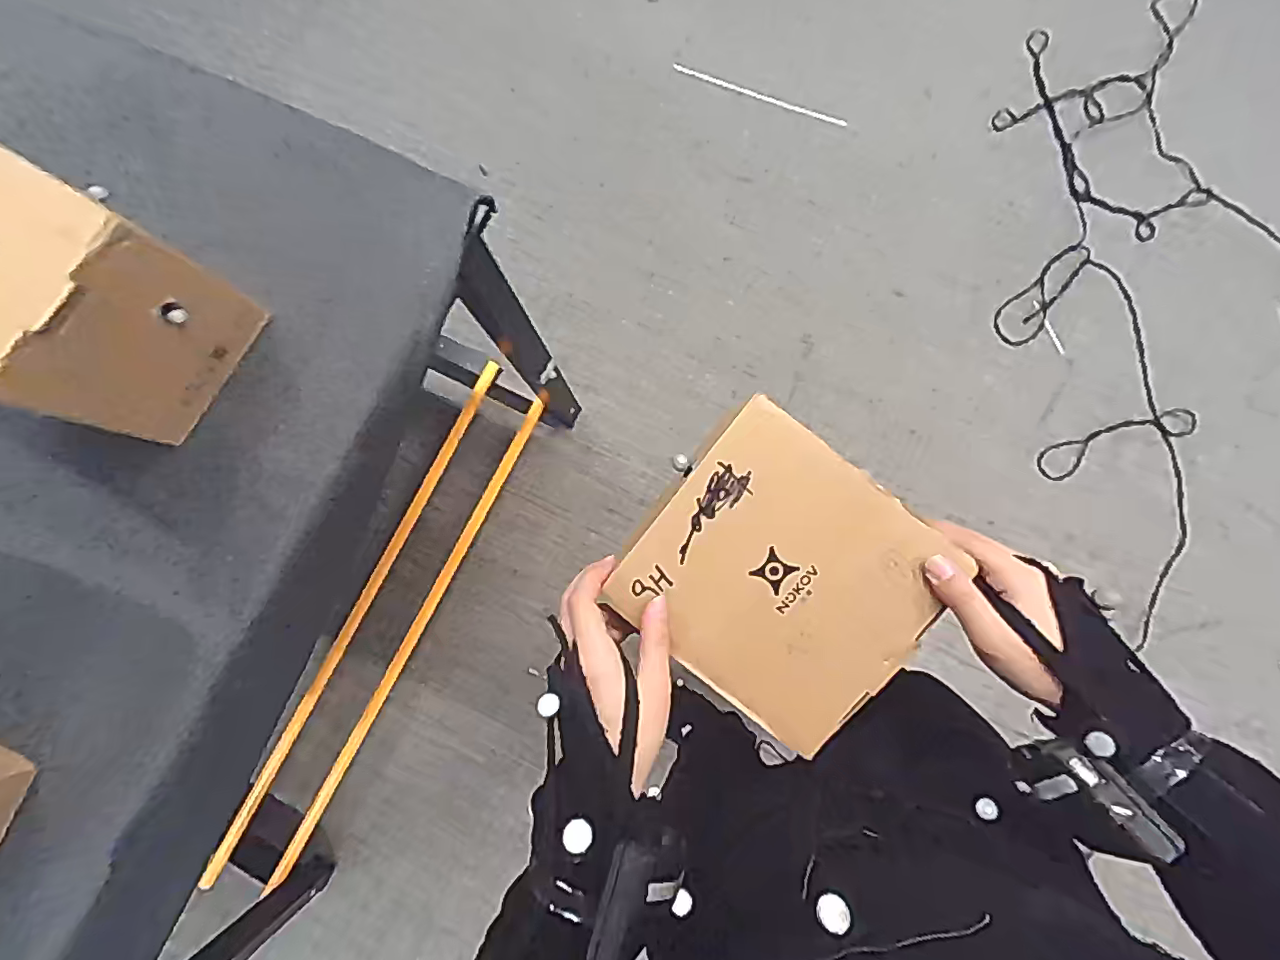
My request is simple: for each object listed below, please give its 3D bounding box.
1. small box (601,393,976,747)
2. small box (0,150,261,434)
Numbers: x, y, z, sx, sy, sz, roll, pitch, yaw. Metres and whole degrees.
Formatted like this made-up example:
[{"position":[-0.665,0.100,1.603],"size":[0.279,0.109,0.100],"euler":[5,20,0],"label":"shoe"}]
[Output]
[{"position":[0.097,0.051,0.418],"size":[0.179,0.176,0.168],"euler":[39,97,1],"label":"small box"},{"position":[-0.503,-0.157,0.488],"size":[0.179,0.176,0.168],"euler":[29,83,8],"label":"small box"}]
